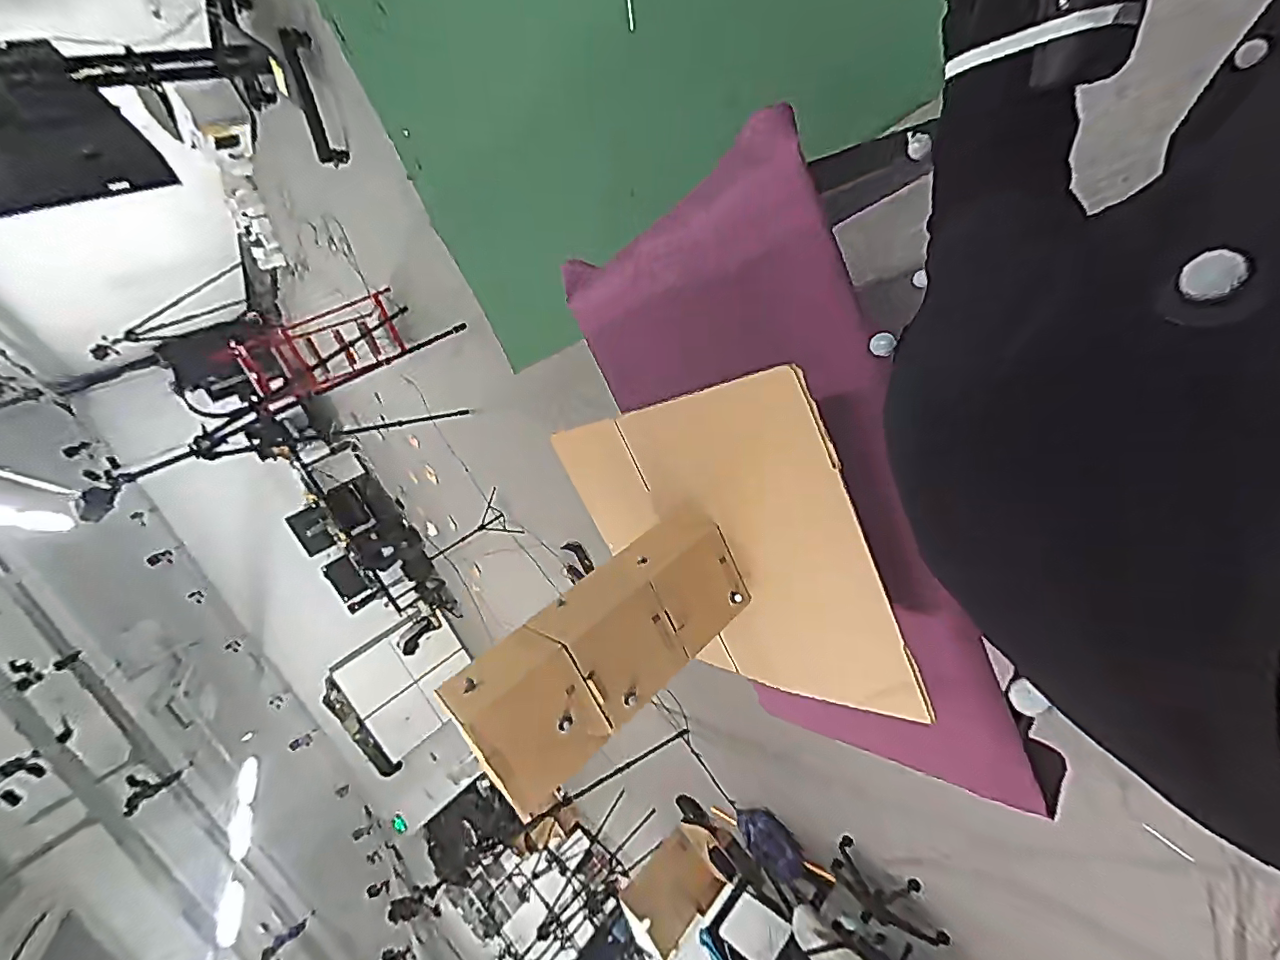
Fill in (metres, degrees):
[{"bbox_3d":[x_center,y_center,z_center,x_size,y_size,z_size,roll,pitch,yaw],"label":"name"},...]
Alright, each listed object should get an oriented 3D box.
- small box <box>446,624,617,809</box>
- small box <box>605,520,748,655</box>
[{"bbox_3d":[-0.165,0.344,0.828,0.179,0.176,0.168,-6,114,57],"label":"small box"},{"bbox_3d":[0.073,0.186,0.989,0.179,0.176,0.168,-3,117,57],"label":"small box"}]
